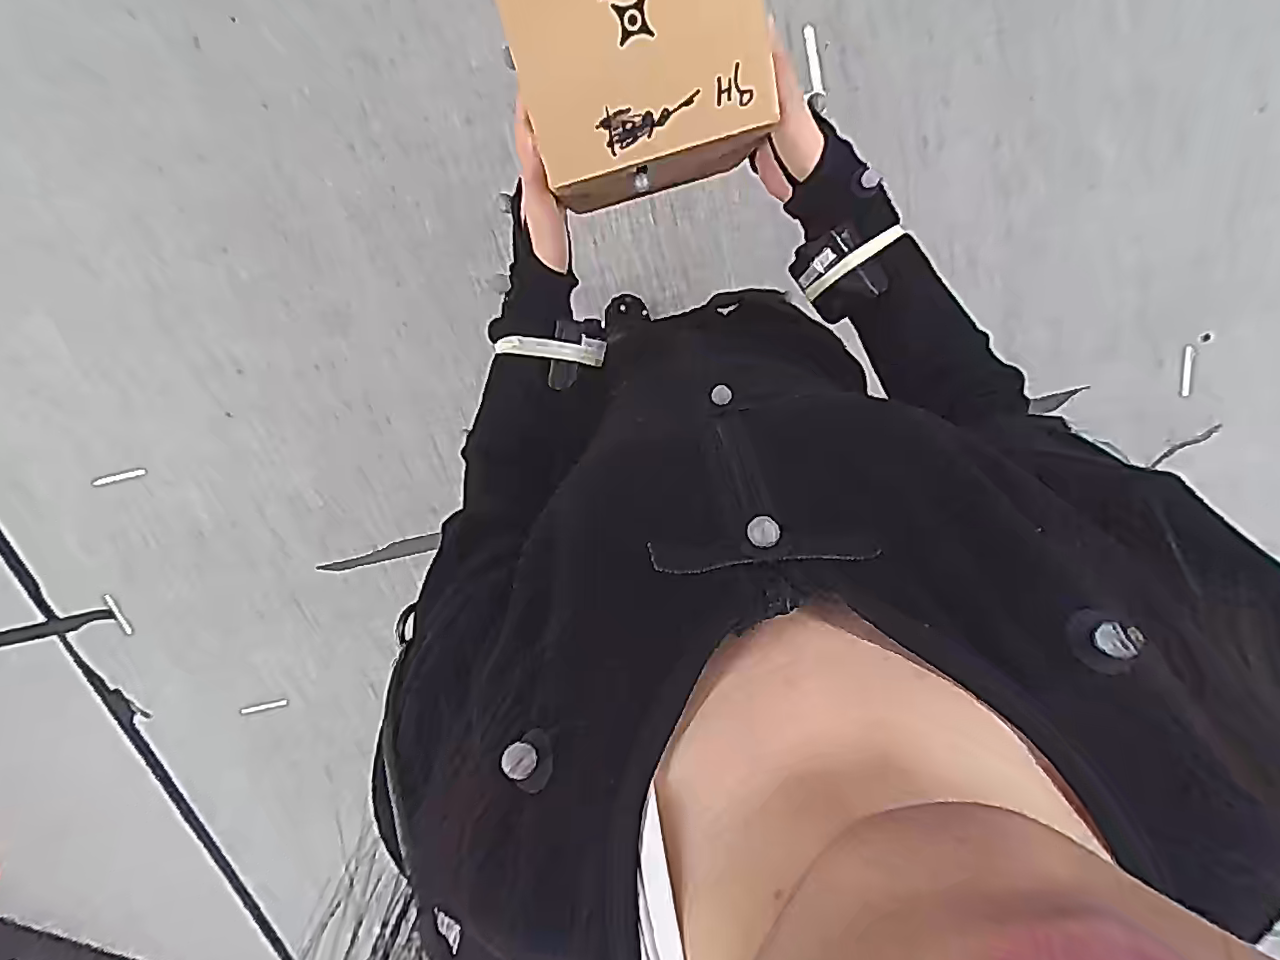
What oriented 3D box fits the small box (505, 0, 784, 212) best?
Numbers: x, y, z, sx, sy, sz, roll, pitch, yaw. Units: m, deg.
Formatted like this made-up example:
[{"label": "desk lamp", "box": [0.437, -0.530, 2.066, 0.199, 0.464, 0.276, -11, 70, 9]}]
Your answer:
[{"label": "small box", "box": [-0.004, -0.328, 0.415, 0.168, 0.176, 0.179, -14, 110, 4]}]
